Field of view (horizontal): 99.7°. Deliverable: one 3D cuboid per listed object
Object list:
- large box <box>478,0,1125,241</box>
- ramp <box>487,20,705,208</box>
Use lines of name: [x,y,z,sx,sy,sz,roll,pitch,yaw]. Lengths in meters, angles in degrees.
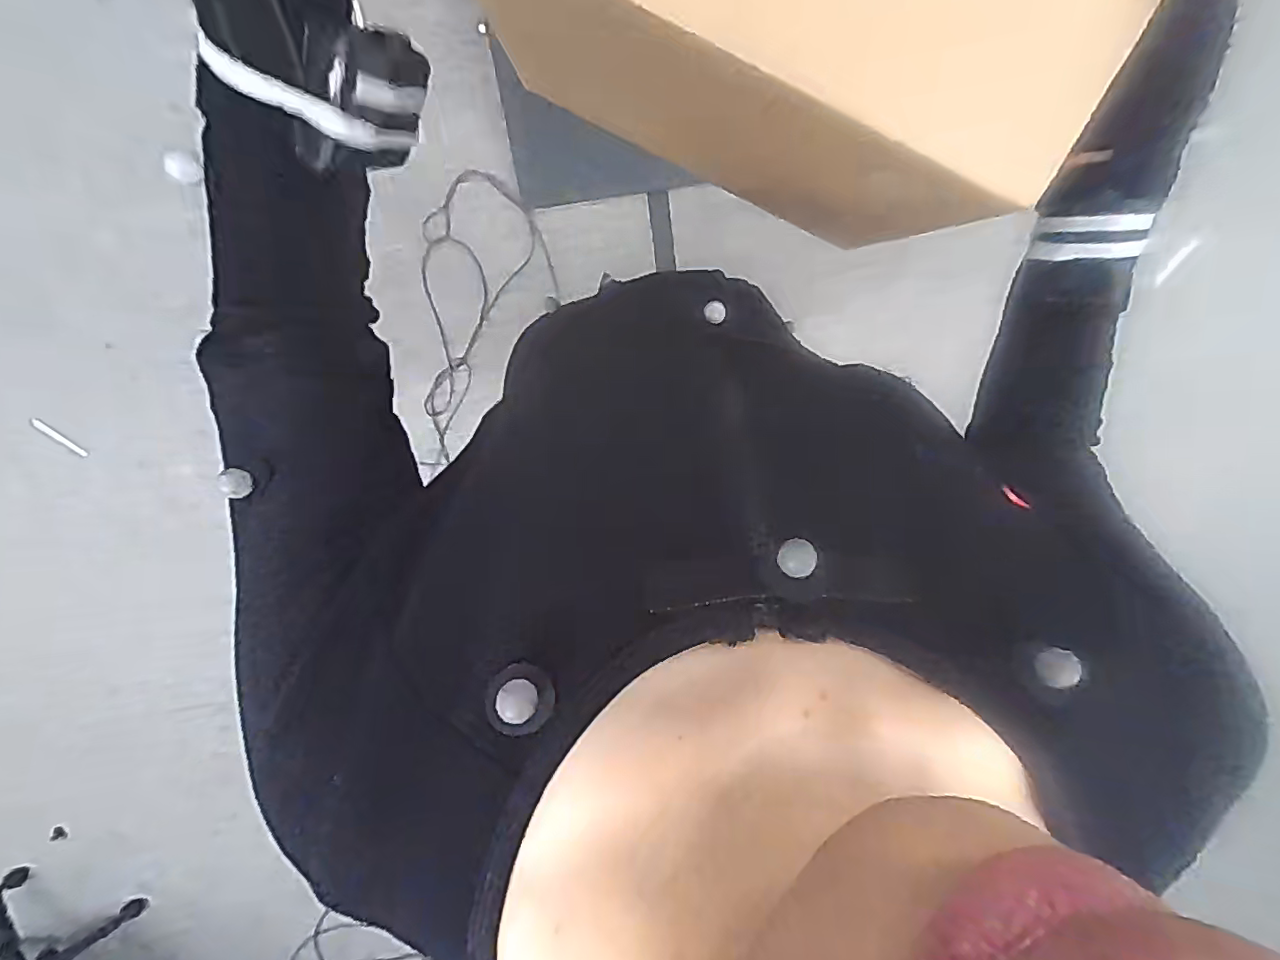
large box: [0.115,-0.433,0.427,0.408,0.320,0.320,21,108,-8]
ramp: [-0.099,-1.125,1.071,0.509,0.206,0.991,-11,107,0]
